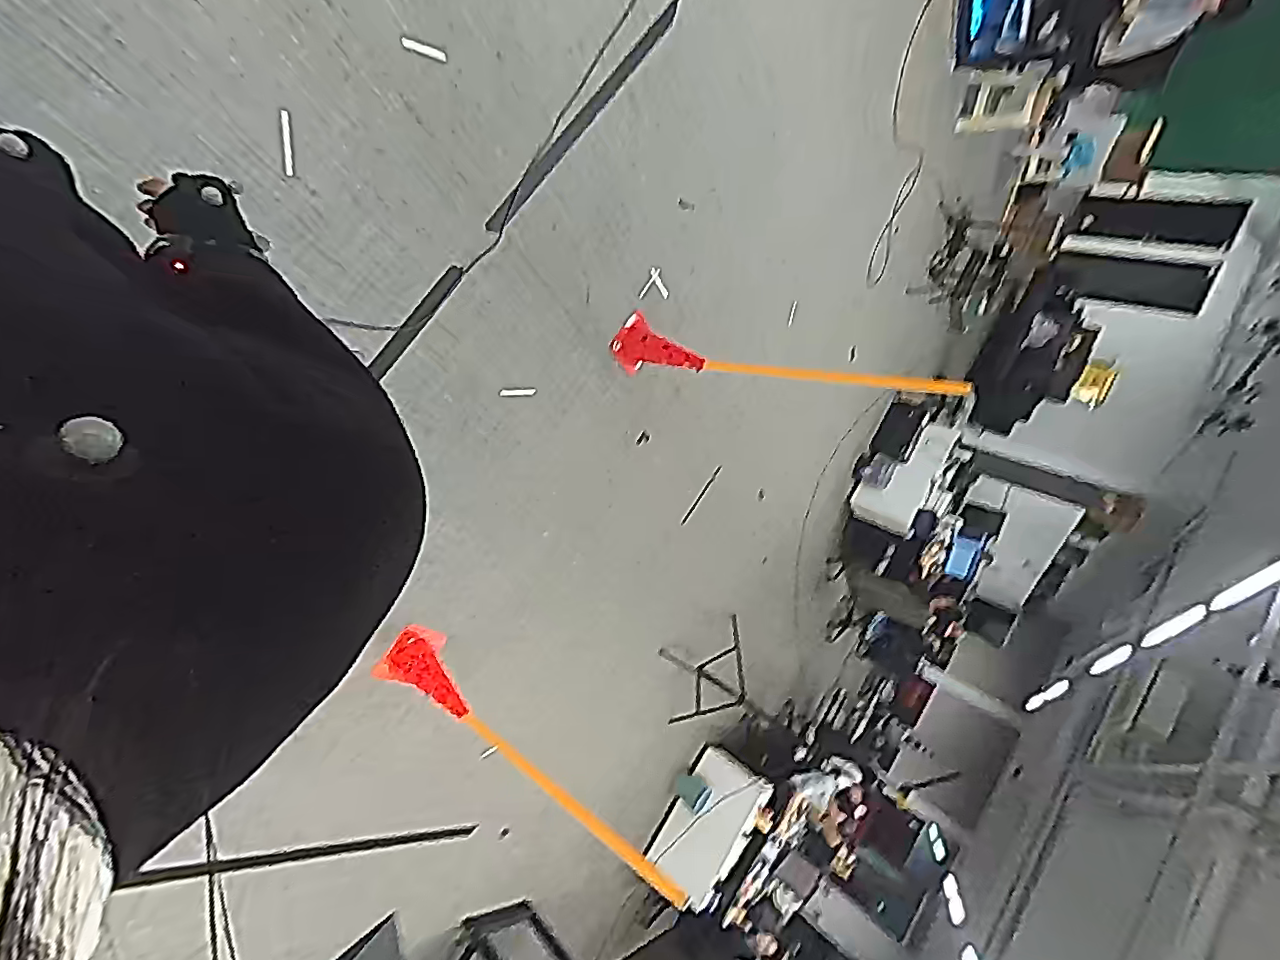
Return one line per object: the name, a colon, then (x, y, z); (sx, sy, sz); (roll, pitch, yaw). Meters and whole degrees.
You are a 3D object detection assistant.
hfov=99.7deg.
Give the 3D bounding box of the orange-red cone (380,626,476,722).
orange-red cone: (-0.650, 0.673, 1.774); (0.199, 0.360, 0.198); (-54, 144, -12)
